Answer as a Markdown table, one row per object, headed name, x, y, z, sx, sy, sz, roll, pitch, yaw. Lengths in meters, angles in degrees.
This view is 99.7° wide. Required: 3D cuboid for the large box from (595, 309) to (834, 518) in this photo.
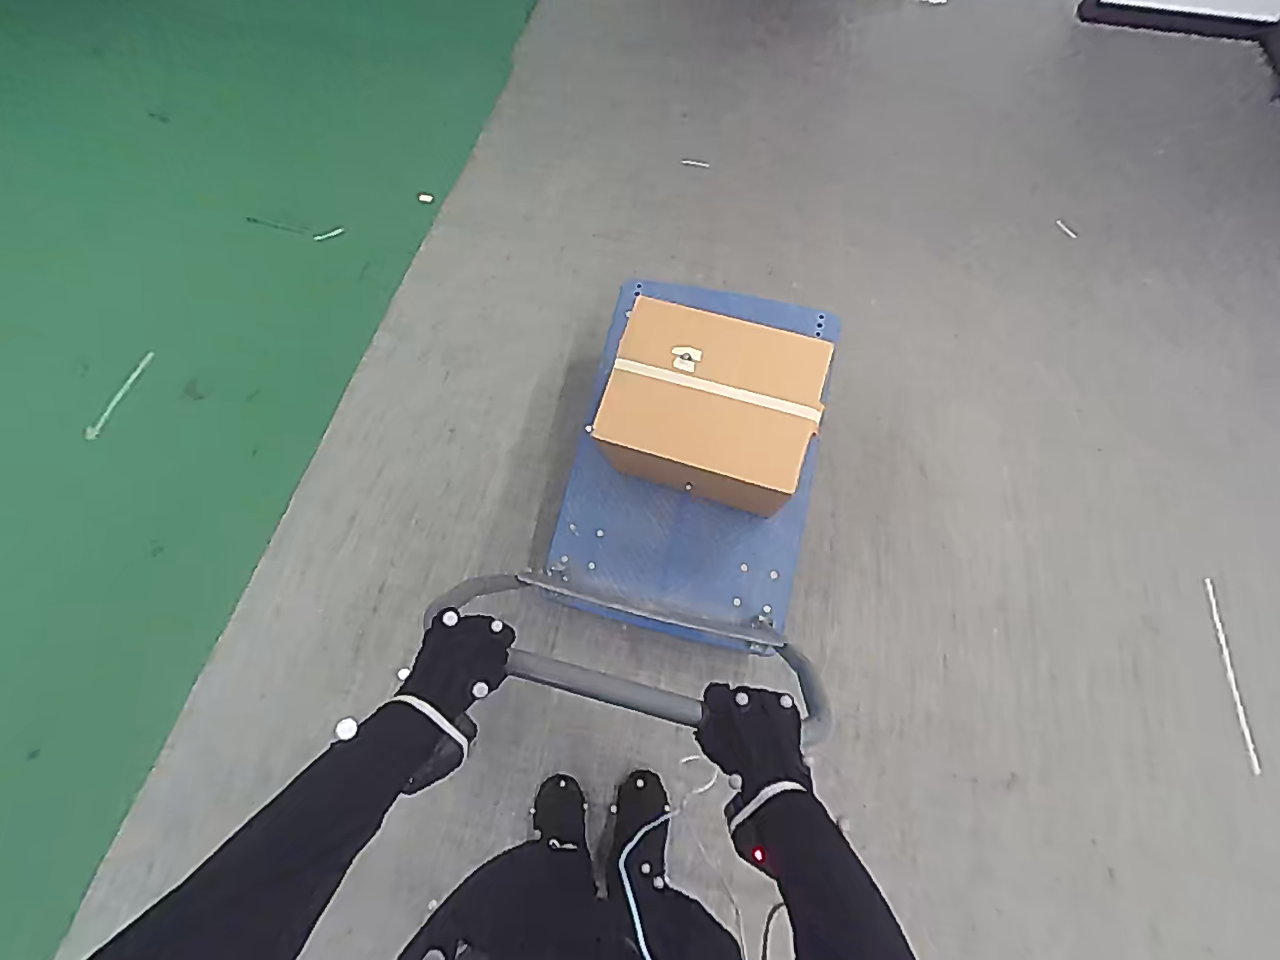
| name | x | y | z | sx | sy | sz | roll | pitch | yaw |
| --- | --- | --- | --- | --- | --- | --- | --- | --- | --- |
| large box | 0.163 | -0.127 | 1.186 | 0.408 | 0.320 | 0.320 | 16 | 80 | 11 |
